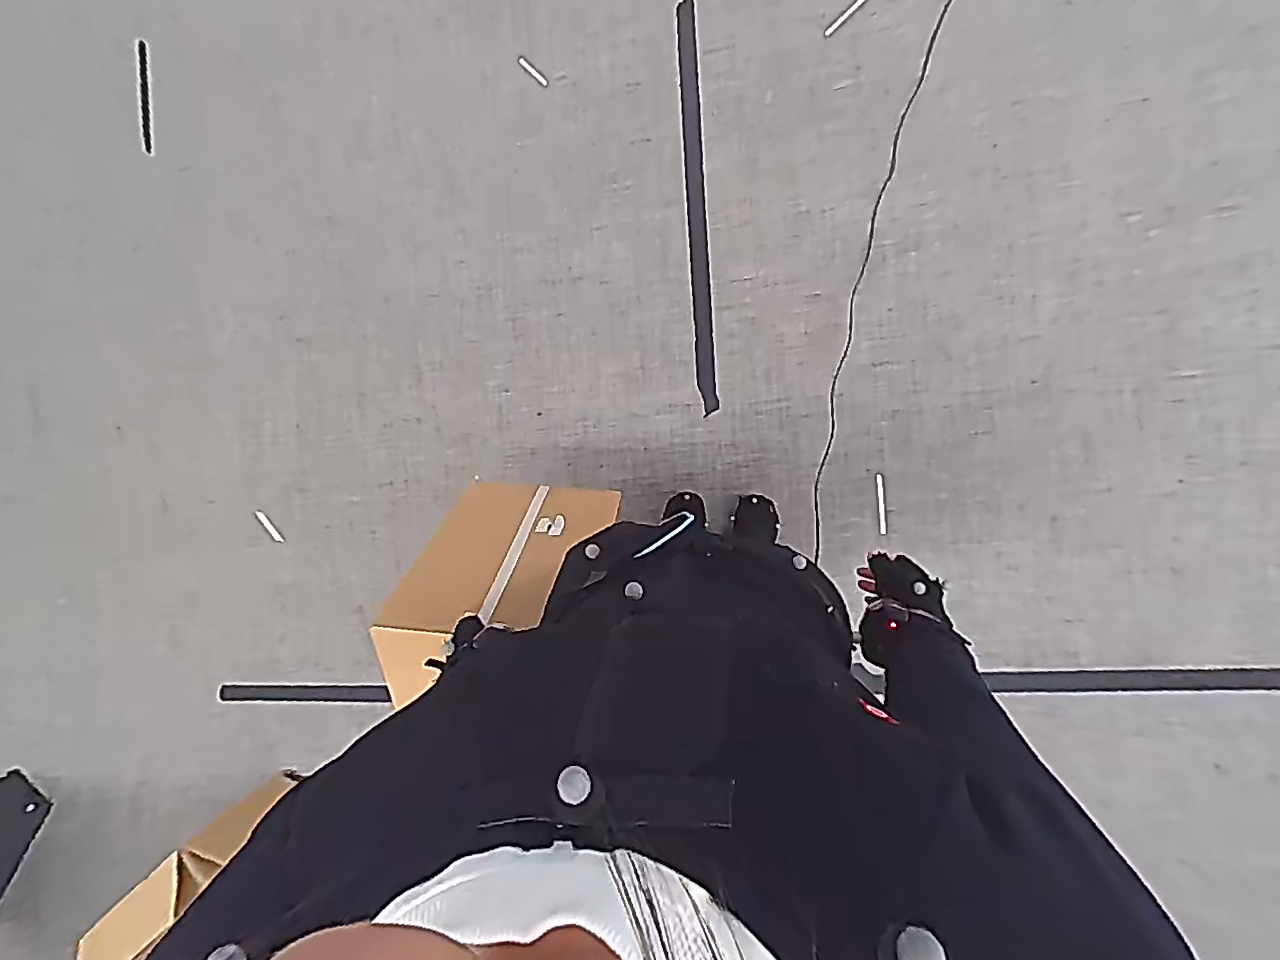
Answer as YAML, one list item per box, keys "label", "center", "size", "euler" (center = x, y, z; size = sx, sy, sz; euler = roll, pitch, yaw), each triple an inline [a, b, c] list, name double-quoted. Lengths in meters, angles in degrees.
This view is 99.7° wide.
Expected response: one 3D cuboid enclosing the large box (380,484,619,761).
- label: "large box"
  center: [-0.217, 0.247, 1.022]
  size: [0.320, 0.408, 0.320]
  euler: [5, 121, 4]
